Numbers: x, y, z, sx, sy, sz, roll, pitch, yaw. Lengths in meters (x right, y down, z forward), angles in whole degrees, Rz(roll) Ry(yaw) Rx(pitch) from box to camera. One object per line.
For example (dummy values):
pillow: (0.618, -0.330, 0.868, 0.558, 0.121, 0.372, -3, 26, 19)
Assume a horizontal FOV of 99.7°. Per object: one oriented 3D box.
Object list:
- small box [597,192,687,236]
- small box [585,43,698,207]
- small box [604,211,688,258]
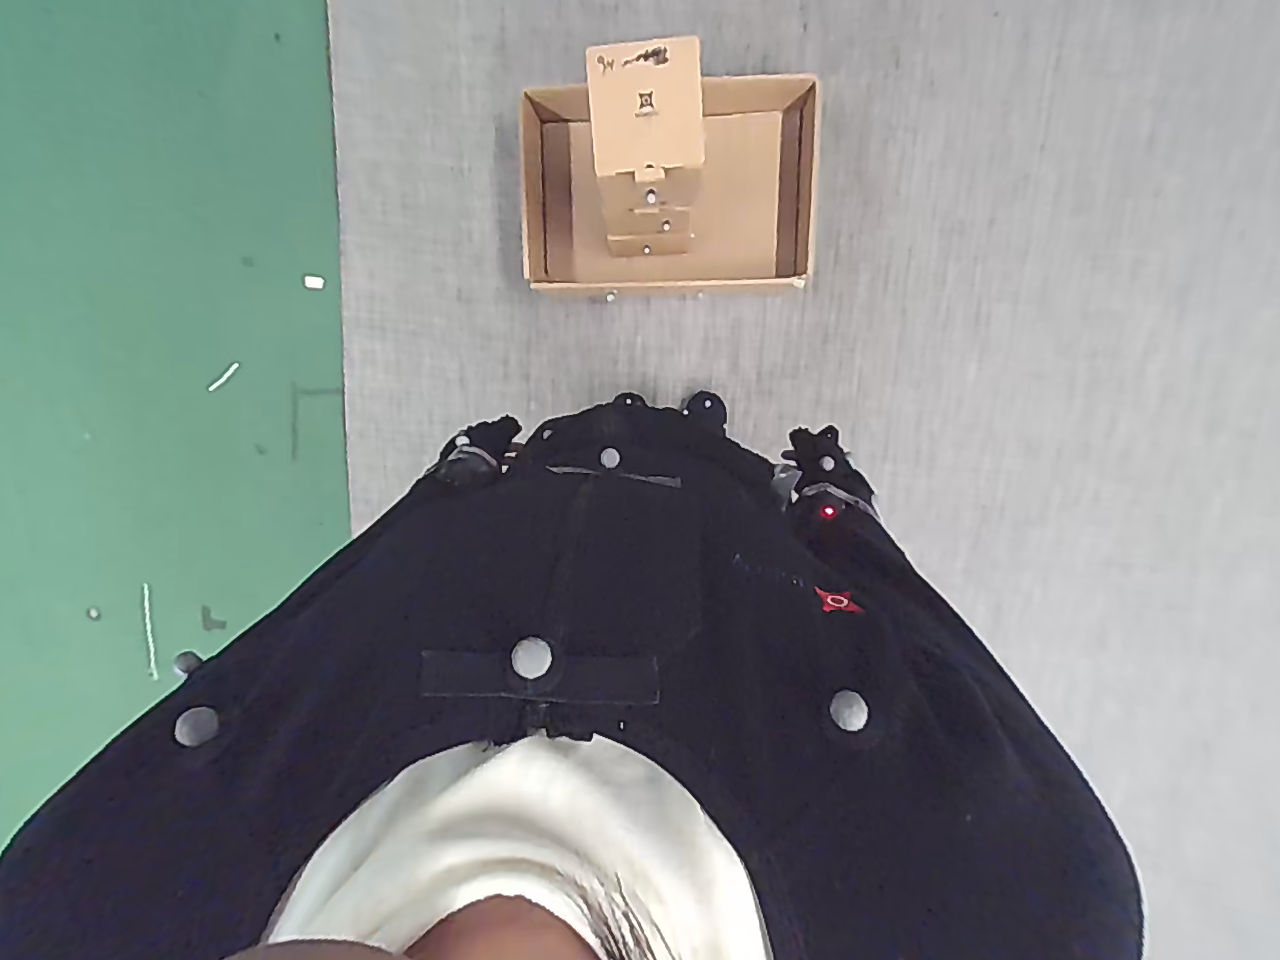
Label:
small box: (0.009, -0.577, 1.033, 0.168, 0.176, 0.179, 0, 99, 2)
small box: (0.008, -0.553, 0.871, 0.168, 0.176, 0.179, -2, 100, 3)
small box: (0.016, -0.596, 1.193, 0.179, 0.176, 0.168, 0, 100, 5)
